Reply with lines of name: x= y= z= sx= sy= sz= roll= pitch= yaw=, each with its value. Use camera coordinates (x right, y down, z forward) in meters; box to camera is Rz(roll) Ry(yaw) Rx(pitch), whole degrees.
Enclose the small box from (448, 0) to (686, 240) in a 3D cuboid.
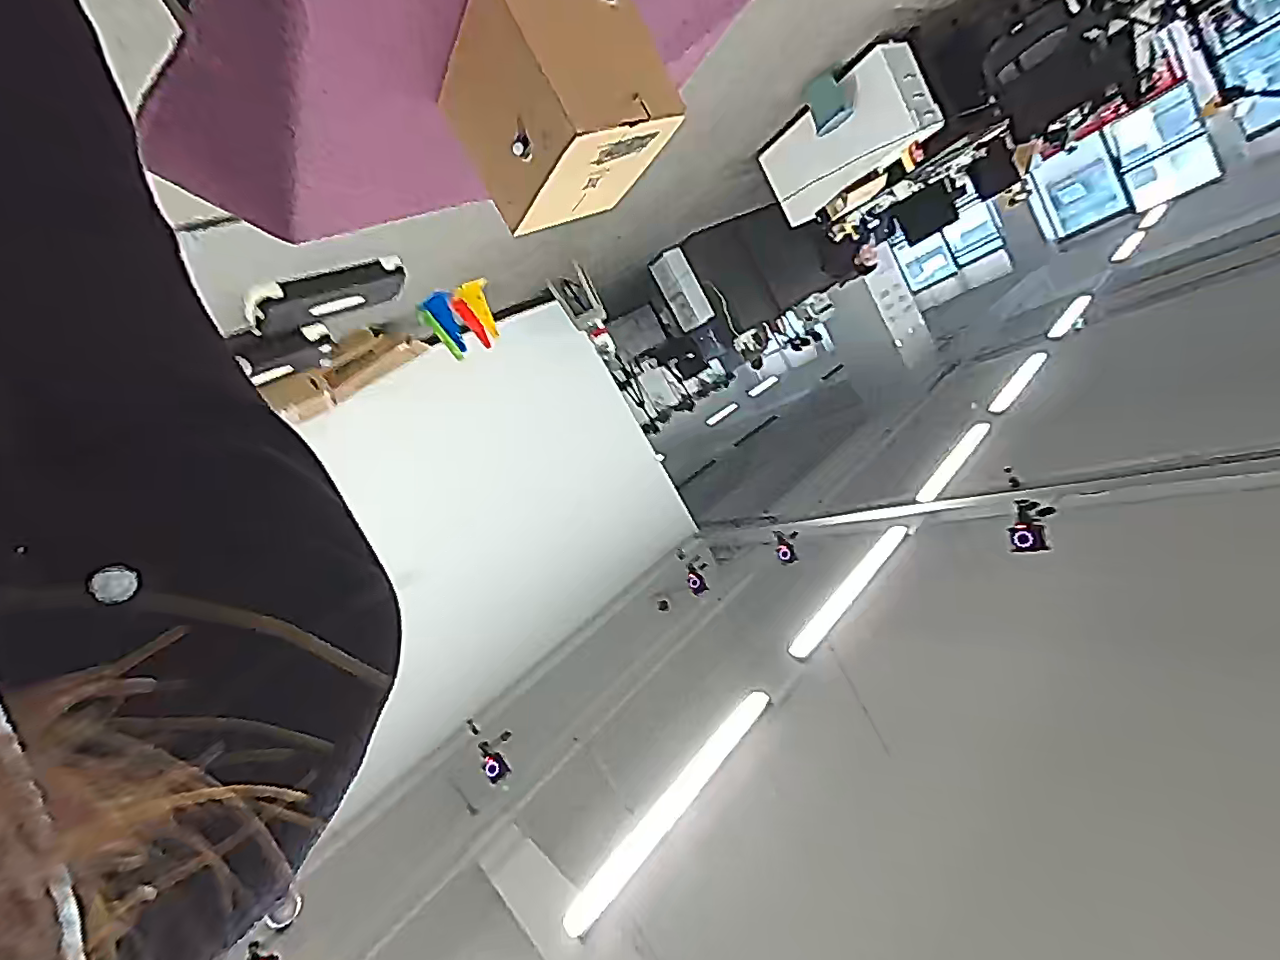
small box: x=-0.088 y=-0.409 z=0.603 sx=0.168 sy=0.176 sz=0.179 roll=-35 pitch=-171 yaw=-32
